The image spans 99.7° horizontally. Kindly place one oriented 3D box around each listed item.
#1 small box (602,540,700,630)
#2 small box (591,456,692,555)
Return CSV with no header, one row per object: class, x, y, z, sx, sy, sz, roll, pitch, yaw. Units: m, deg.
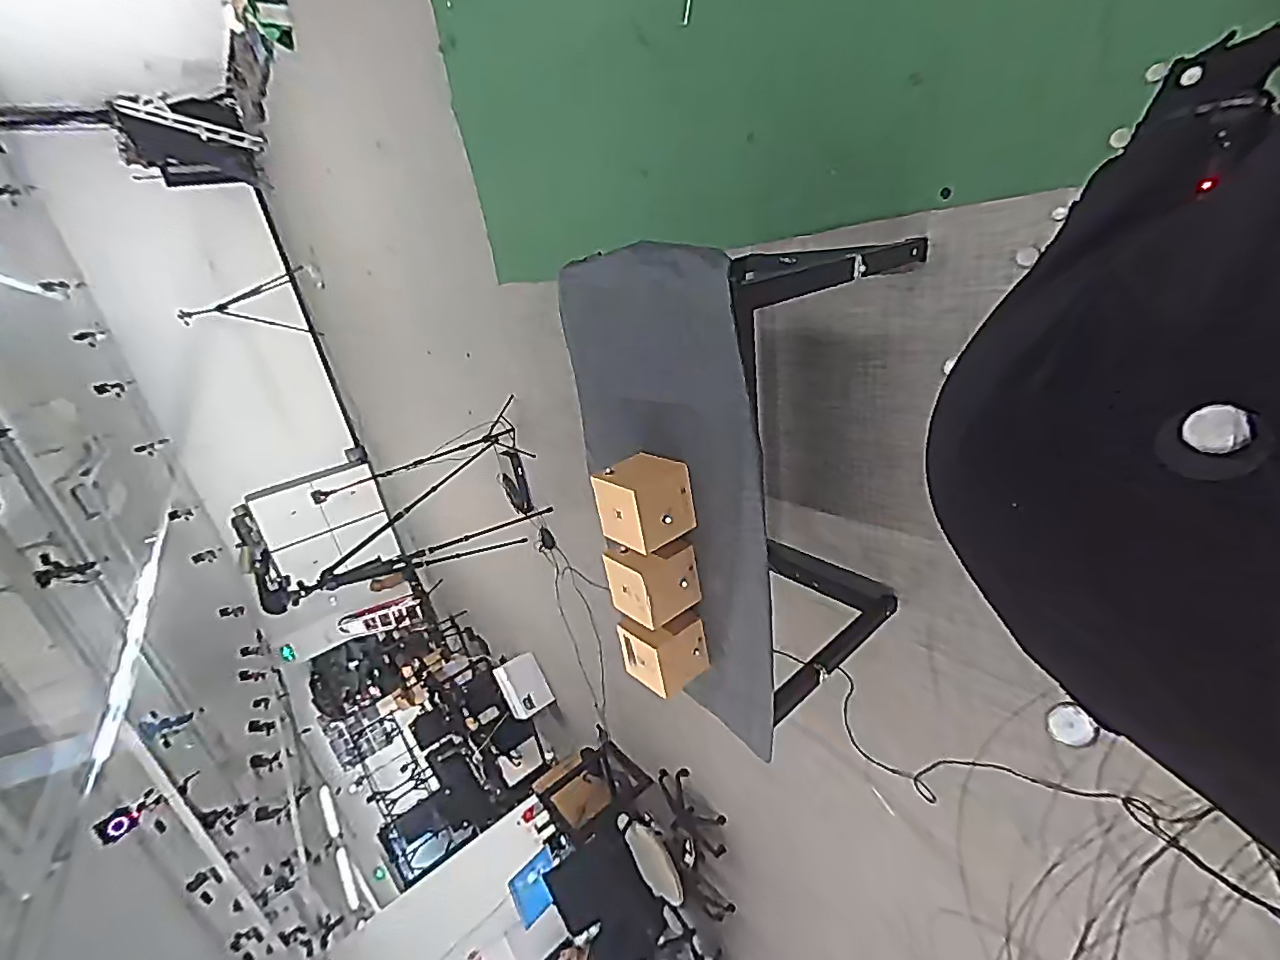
small box,0.030,0.253,1.403,0.179,0.176,0.168,15,123,50
small box,0.011,0.053,1.303,0.179,0.176,0.168,17,124,50
